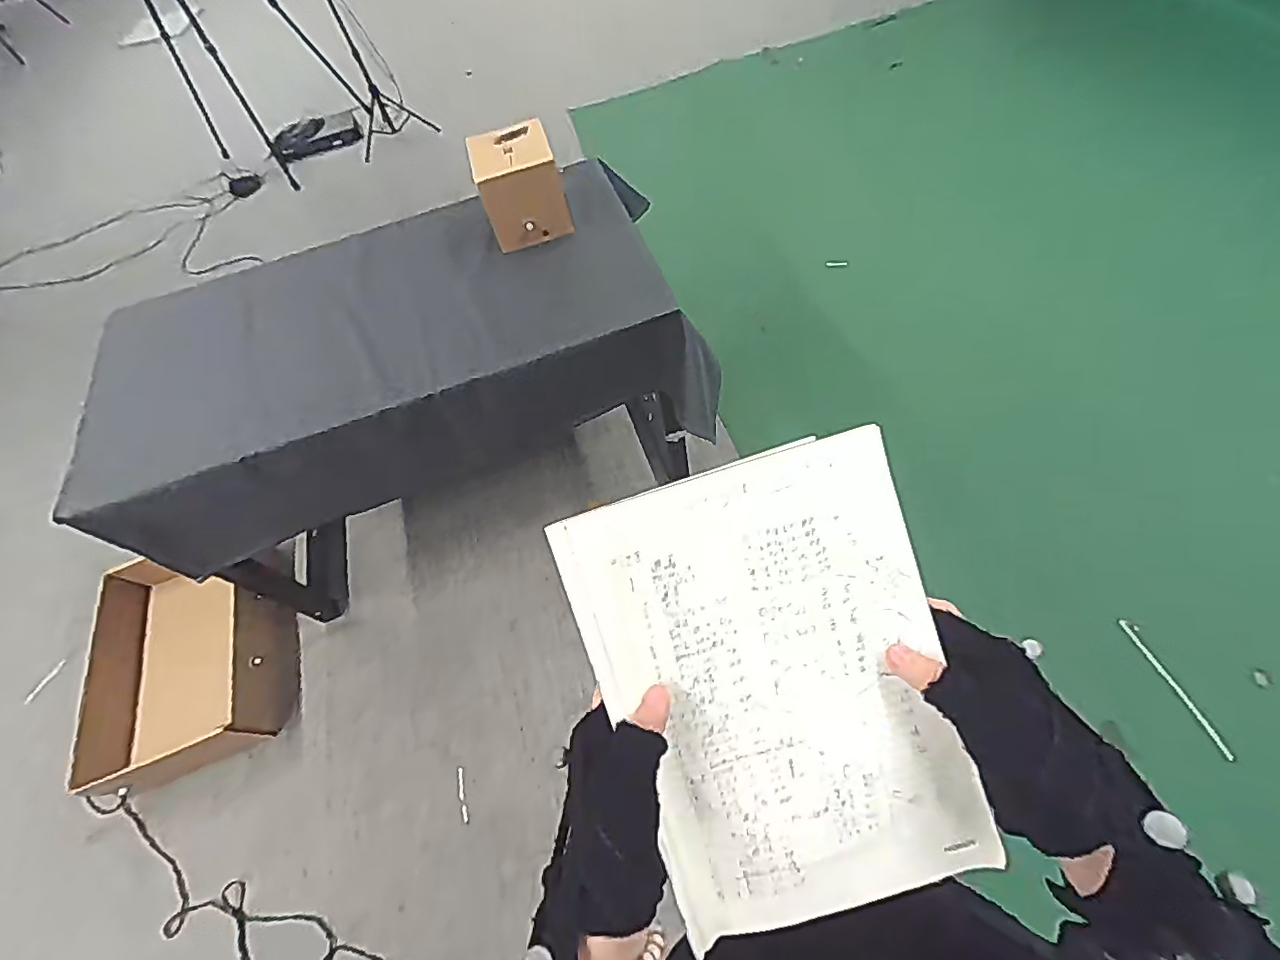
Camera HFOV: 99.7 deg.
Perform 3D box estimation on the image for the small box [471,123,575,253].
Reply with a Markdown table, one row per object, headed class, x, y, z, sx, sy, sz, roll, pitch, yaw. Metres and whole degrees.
| class | x | y | z | sx | sy | sz | roll | pitch | yaw |
| --- | --- | --- | --- | --- | --- | --- | --- | --- | --- |
| small box | -0.252 | -0.630 | 1.176 | 0.168 | 0.176 | 0.179 | -17 | 59 | -1 |
